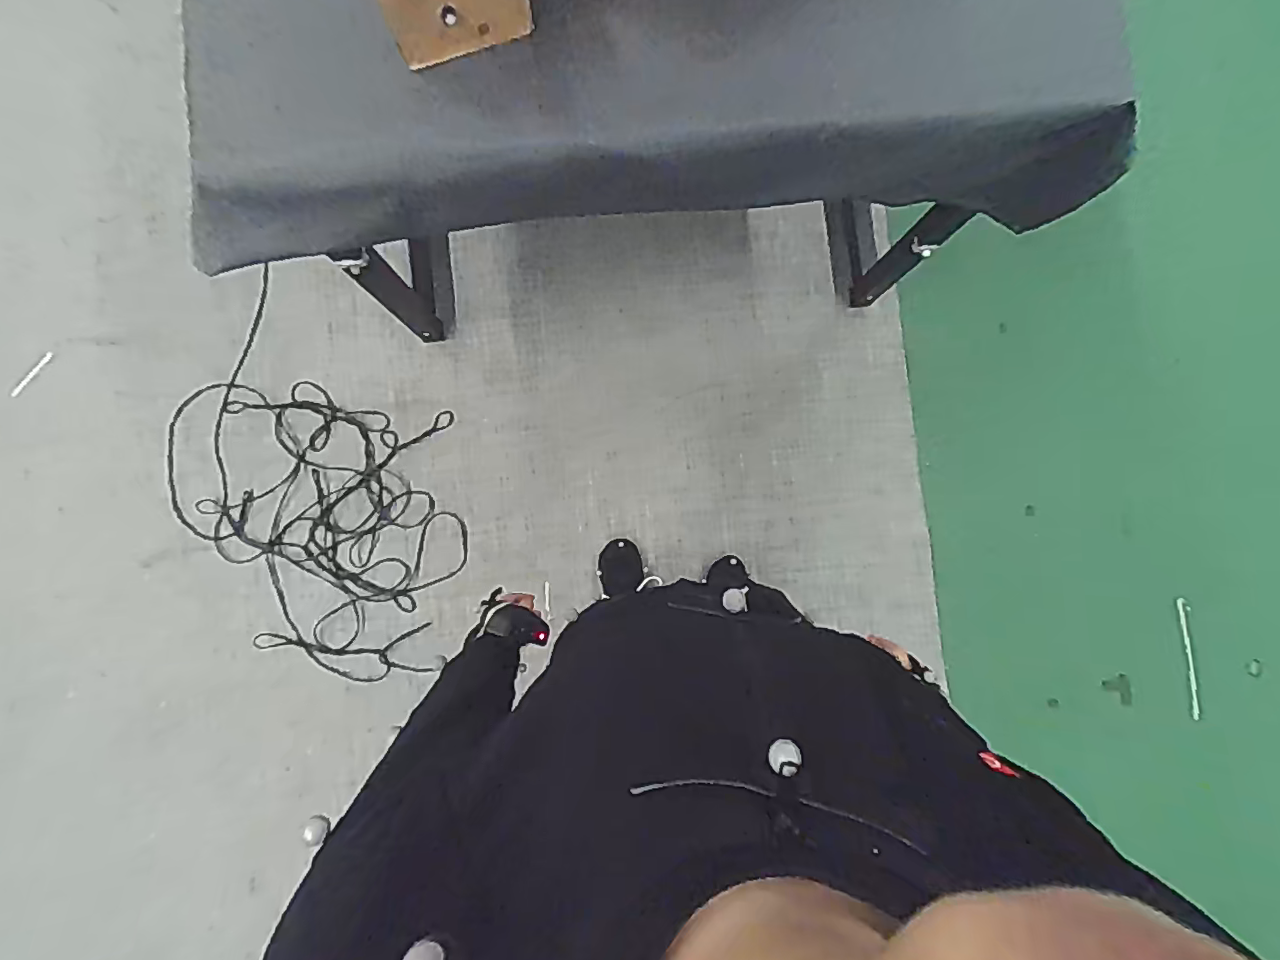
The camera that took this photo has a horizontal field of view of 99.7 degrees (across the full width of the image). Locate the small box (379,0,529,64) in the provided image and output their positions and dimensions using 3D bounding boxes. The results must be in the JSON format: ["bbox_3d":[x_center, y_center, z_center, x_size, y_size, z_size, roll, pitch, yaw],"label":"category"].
[{"bbox_3d":[-0.237,-0.626,0.602,0.168,0.176,0.179,-21,87,-4],"label":"small box"}]
